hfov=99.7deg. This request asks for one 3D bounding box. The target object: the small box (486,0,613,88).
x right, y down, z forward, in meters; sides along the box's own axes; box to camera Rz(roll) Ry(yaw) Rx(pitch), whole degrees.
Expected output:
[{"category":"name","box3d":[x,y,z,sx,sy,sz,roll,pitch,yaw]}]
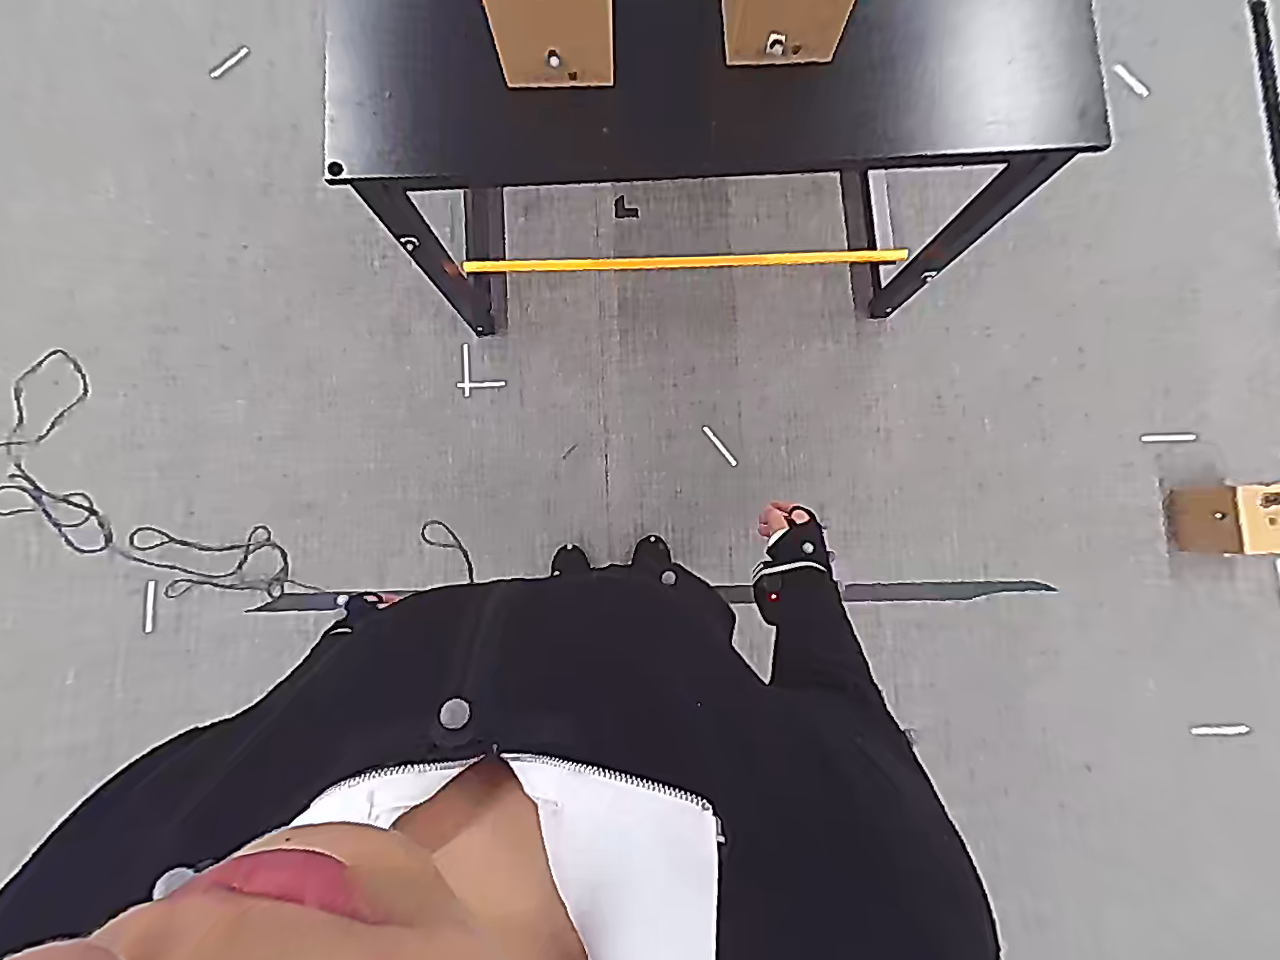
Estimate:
[{"category":"small box","box3d":[-0.126,-0.705,0.769,0.168,0.176,0.179,-1,85,0]}]

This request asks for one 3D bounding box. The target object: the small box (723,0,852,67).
[{"category":"small box","box3d":[0.210,-0.743,0.774,0.168,0.176,0.179,-4,85,1]}]

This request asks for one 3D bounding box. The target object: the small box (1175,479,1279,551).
[{"category":"small box","box3d":[1.570,0.094,1.421,0.168,0.176,0.179,-4,85,0]}]
